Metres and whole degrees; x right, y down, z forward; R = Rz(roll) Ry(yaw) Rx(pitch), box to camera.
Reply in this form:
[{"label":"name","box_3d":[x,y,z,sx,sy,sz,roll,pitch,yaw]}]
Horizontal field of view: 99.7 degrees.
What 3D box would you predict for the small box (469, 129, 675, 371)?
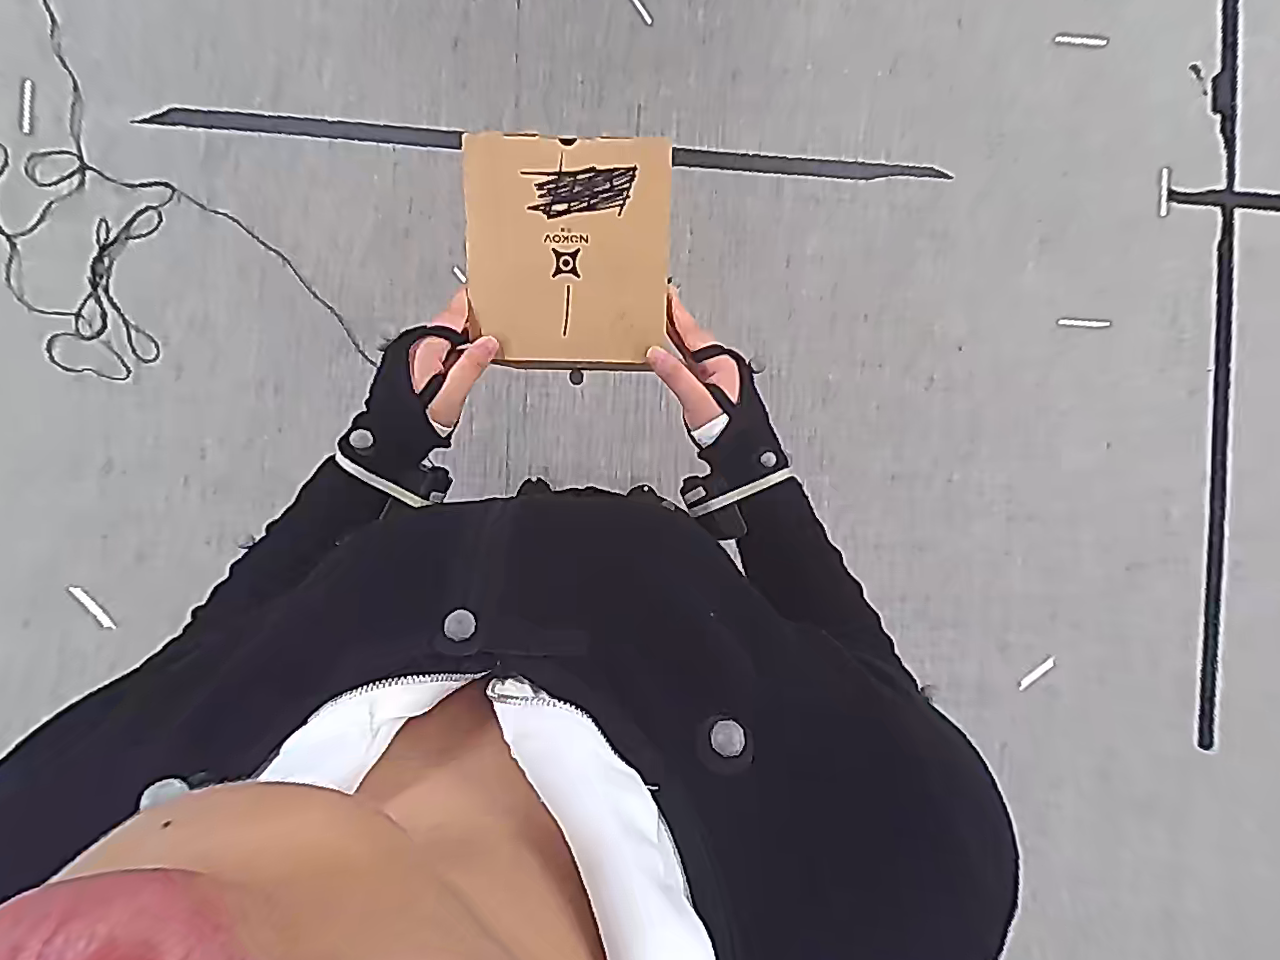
[{"label":"small box","box_3d":[-0.058,-0.200,0.518,0.168,0.176,0.179,2,99,0]}]
